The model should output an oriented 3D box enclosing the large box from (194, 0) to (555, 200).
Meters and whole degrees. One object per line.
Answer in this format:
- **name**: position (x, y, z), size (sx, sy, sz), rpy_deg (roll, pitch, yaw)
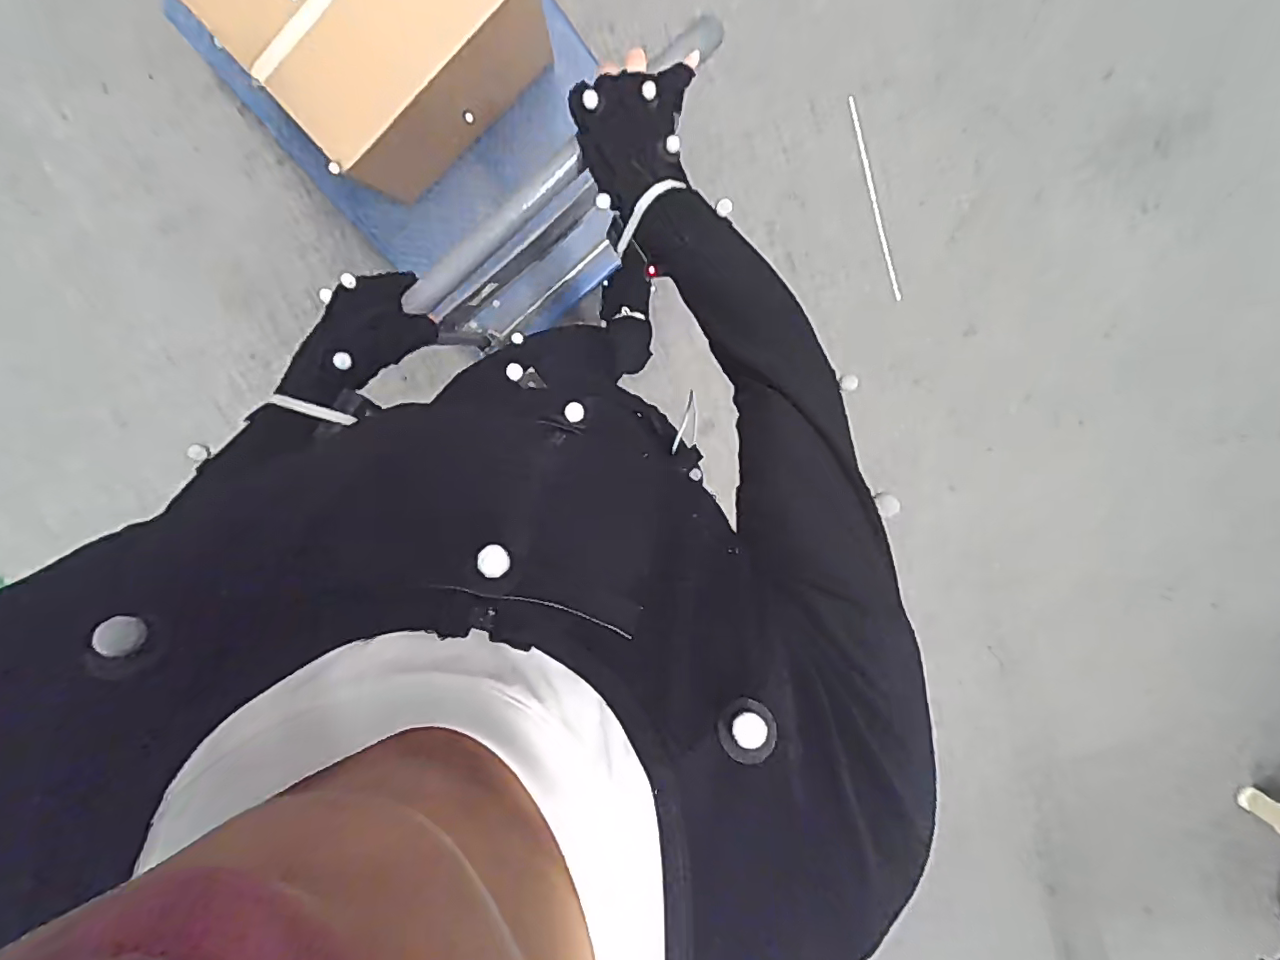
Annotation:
- **large box**: position (-0.395, -0.754, 0.899), size (0.408, 0.320, 0.320), rpy_deg (-40, 106, 10)
